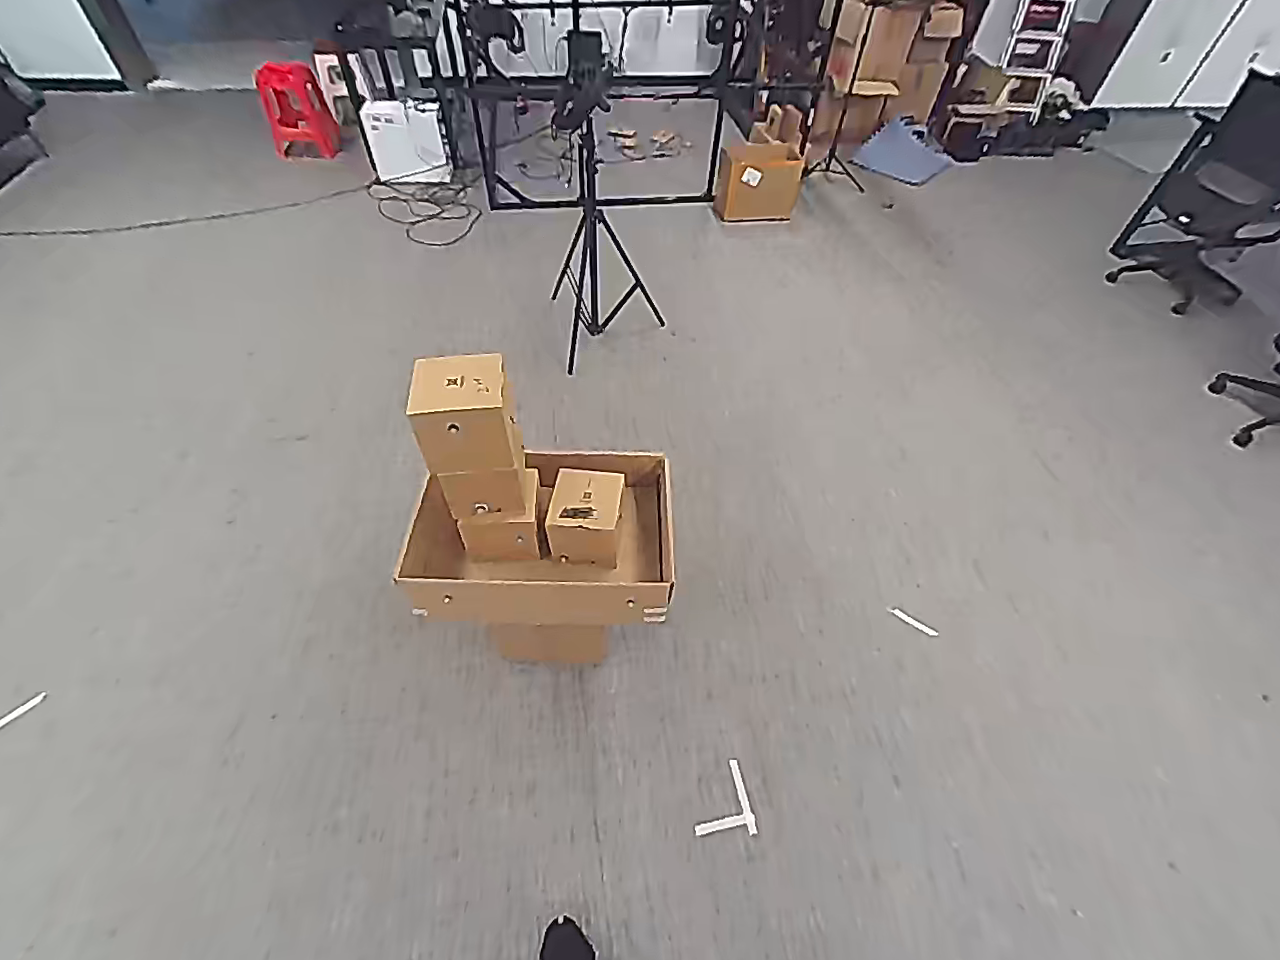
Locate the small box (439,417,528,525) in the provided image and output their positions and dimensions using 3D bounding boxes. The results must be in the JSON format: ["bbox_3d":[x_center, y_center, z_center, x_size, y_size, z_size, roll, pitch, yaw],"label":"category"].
[{"bbox_3d":[-0.348,-0.020,1.231,0.168,0.176,0.179,-6,50,-7],"label":"small box"}]

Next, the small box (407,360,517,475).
[{"bbox_3d":[-0.353,-0.124,1.105,0.179,0.176,0.168,-5,50,-7],"label":"small box"}]
